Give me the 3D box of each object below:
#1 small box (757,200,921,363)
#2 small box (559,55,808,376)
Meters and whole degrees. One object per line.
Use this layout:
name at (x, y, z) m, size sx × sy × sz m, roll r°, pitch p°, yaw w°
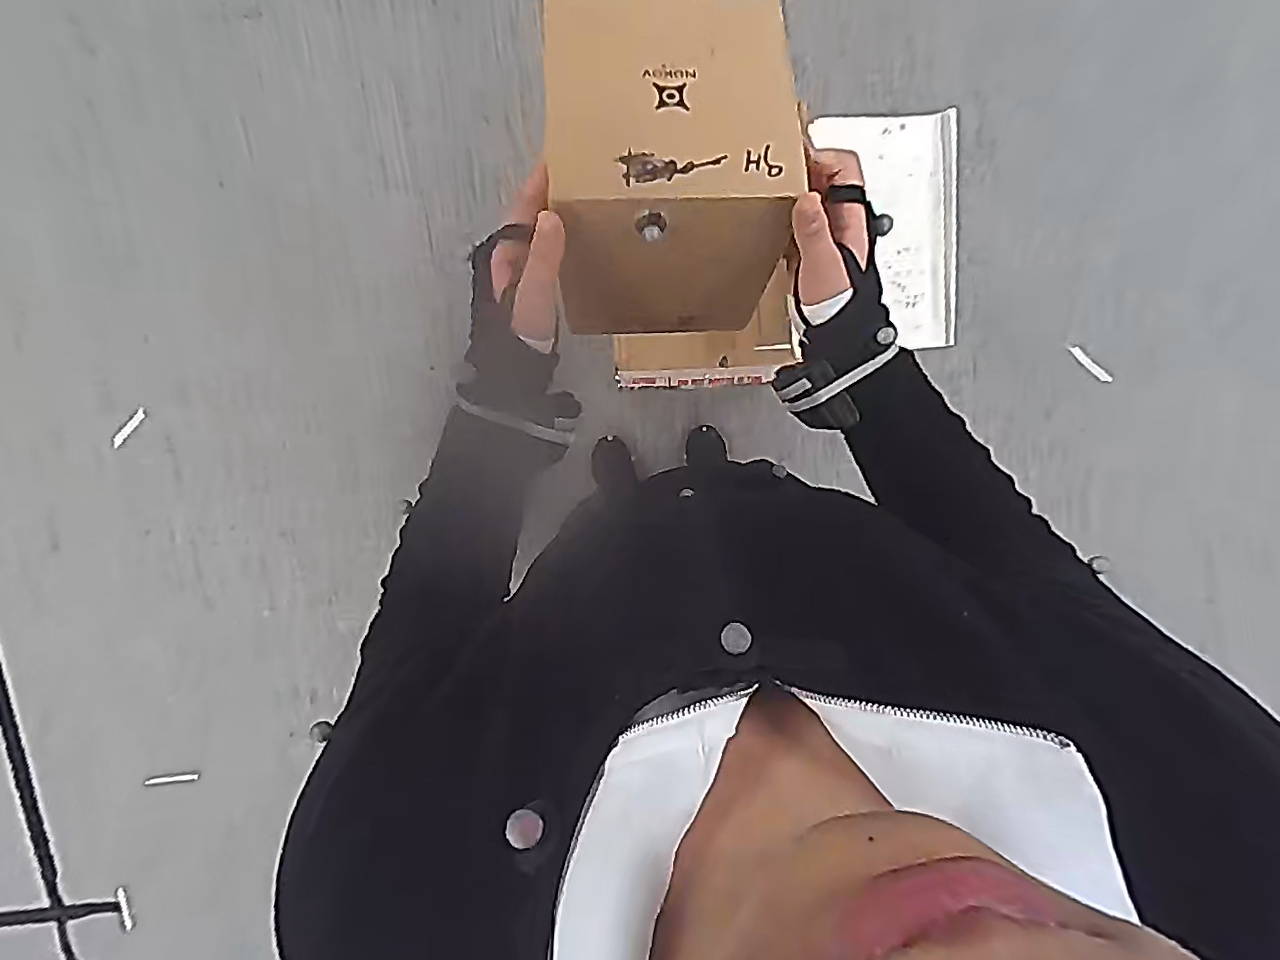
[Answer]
small box at (0.260, -0.261, 0.744) m, size 0.168 × 0.176 × 0.179 m, roll -5°, pitch 99°, yaw -3°
small box at (0.020, -0.203, 0.450) m, size 0.168 × 0.176 × 0.179 m, roll -3°, pitch 76°, yaw -4°
